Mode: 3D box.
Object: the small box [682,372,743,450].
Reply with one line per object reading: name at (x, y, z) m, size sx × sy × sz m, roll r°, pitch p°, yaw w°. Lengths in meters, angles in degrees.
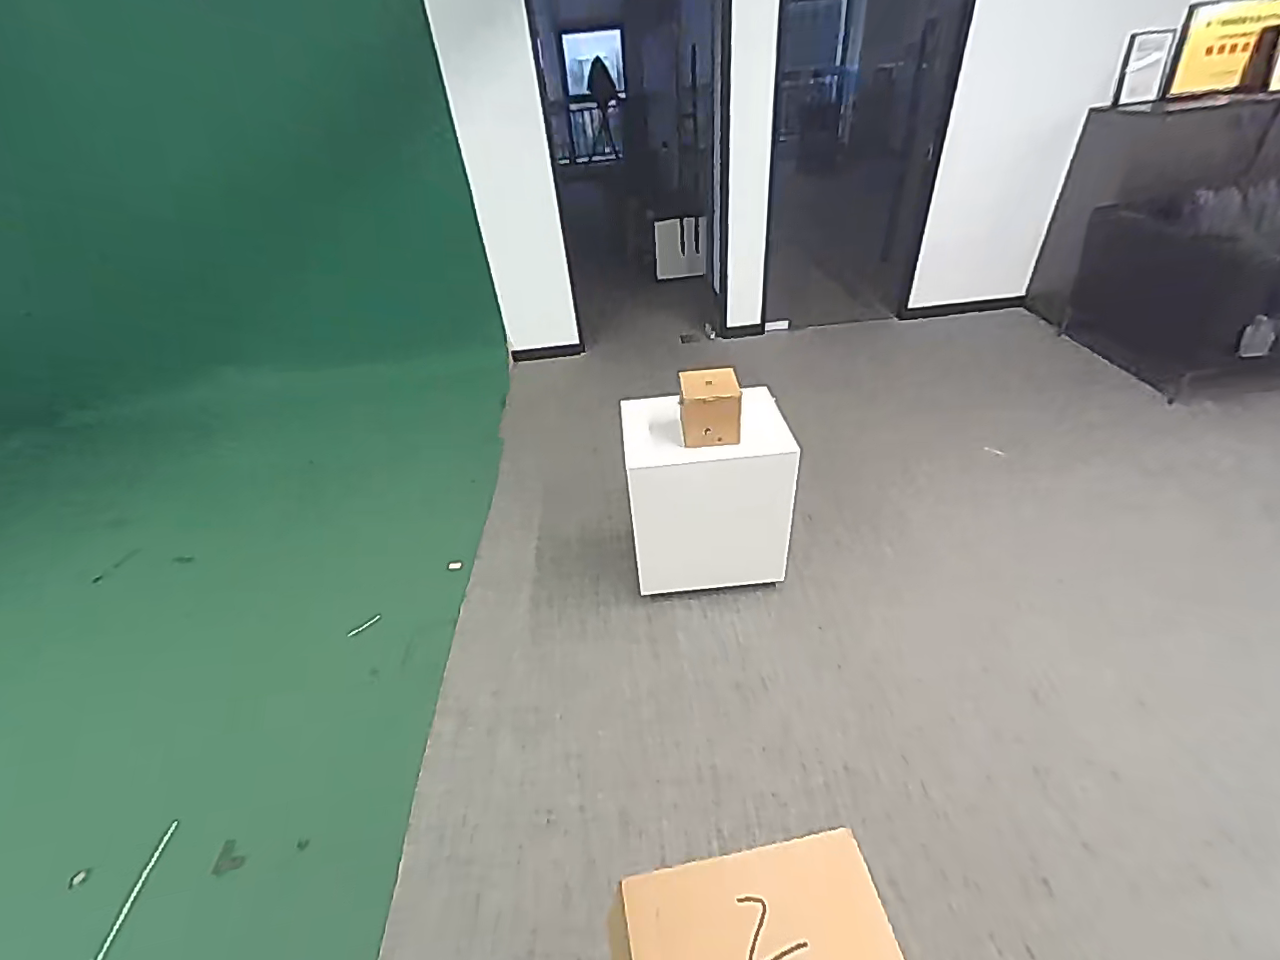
small box at (0.212, -0.208, 1.622) m, size 0.168 × 0.176 × 0.179 m, roll -5°, pitch 36°, yaw 2°
